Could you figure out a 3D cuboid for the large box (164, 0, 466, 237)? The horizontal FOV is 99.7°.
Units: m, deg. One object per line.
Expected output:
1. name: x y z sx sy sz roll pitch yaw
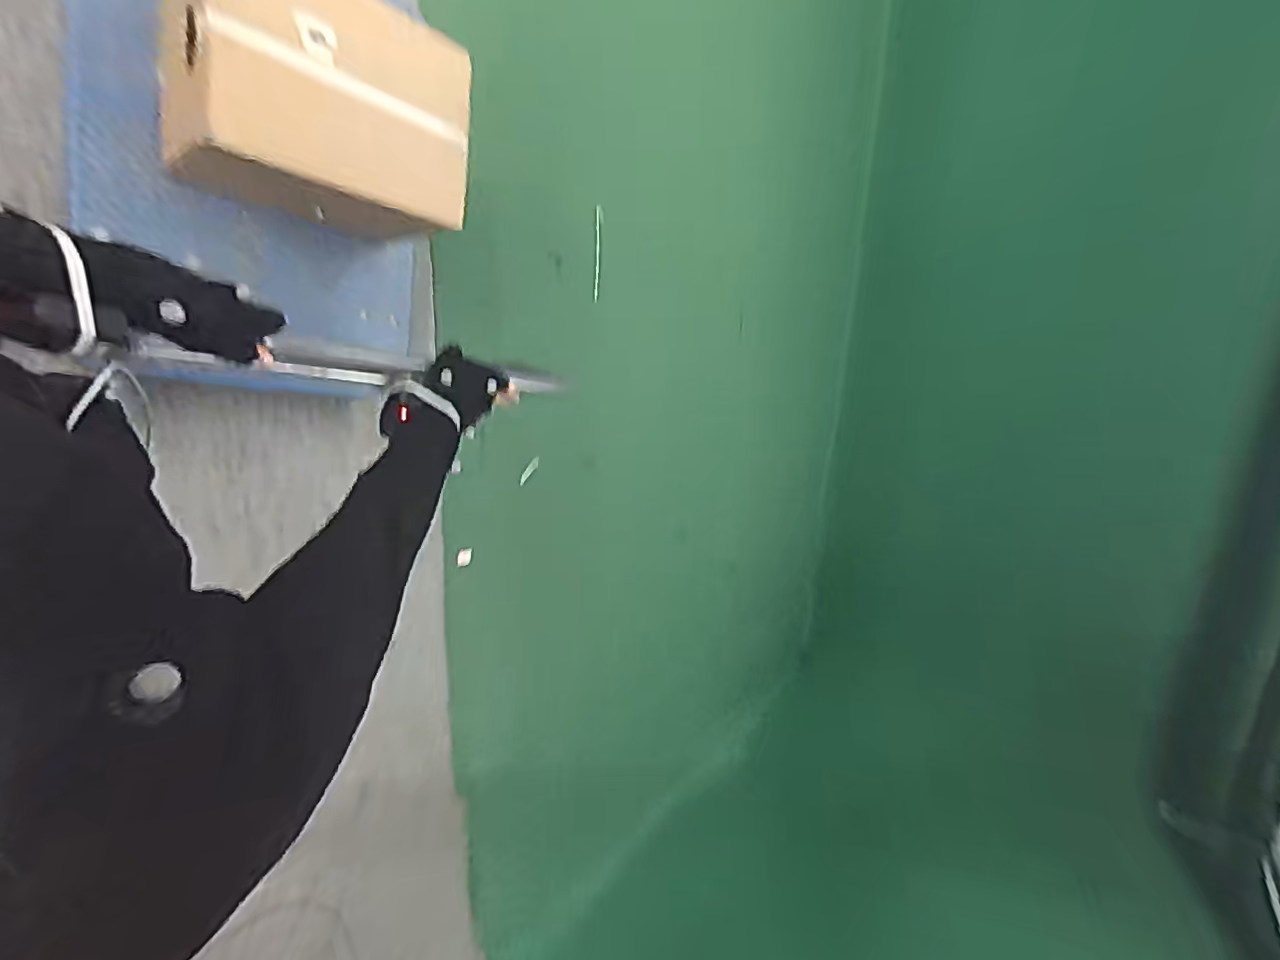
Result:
1. large box: -0.585 -0.670 0.995 0.408 0.320 0.320 -4 103 -49
